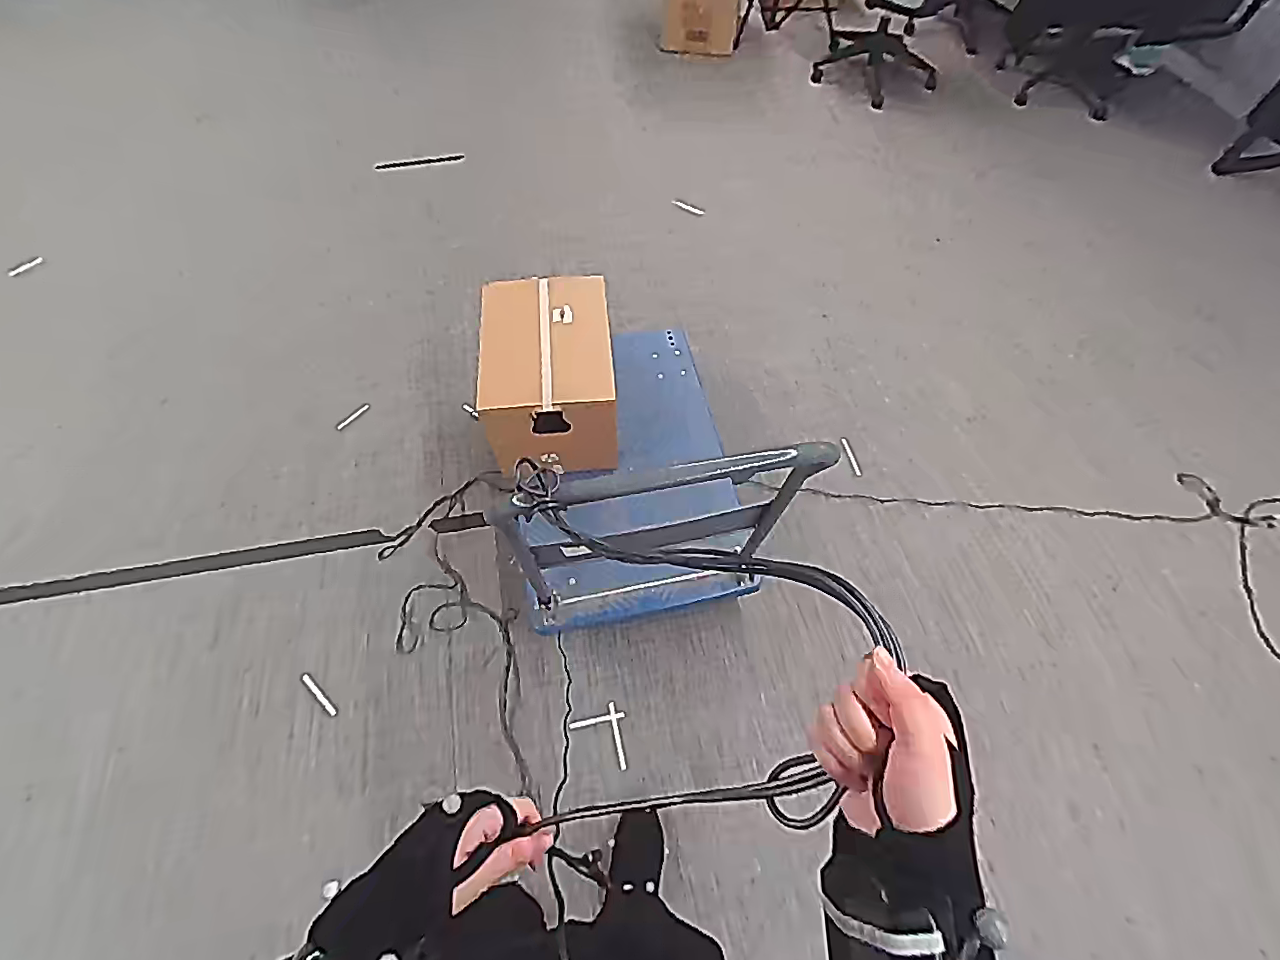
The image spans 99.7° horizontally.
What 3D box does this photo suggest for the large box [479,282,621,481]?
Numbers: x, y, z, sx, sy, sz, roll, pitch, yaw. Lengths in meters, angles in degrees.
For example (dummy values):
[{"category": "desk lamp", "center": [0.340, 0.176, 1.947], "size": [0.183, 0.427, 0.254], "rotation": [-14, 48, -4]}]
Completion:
[{"category": "large box", "center": [-0.226, -0.252, 1.419], "size": [0.320, 0.320, 0.408], "rotation": [-5, 61, -4]}]
